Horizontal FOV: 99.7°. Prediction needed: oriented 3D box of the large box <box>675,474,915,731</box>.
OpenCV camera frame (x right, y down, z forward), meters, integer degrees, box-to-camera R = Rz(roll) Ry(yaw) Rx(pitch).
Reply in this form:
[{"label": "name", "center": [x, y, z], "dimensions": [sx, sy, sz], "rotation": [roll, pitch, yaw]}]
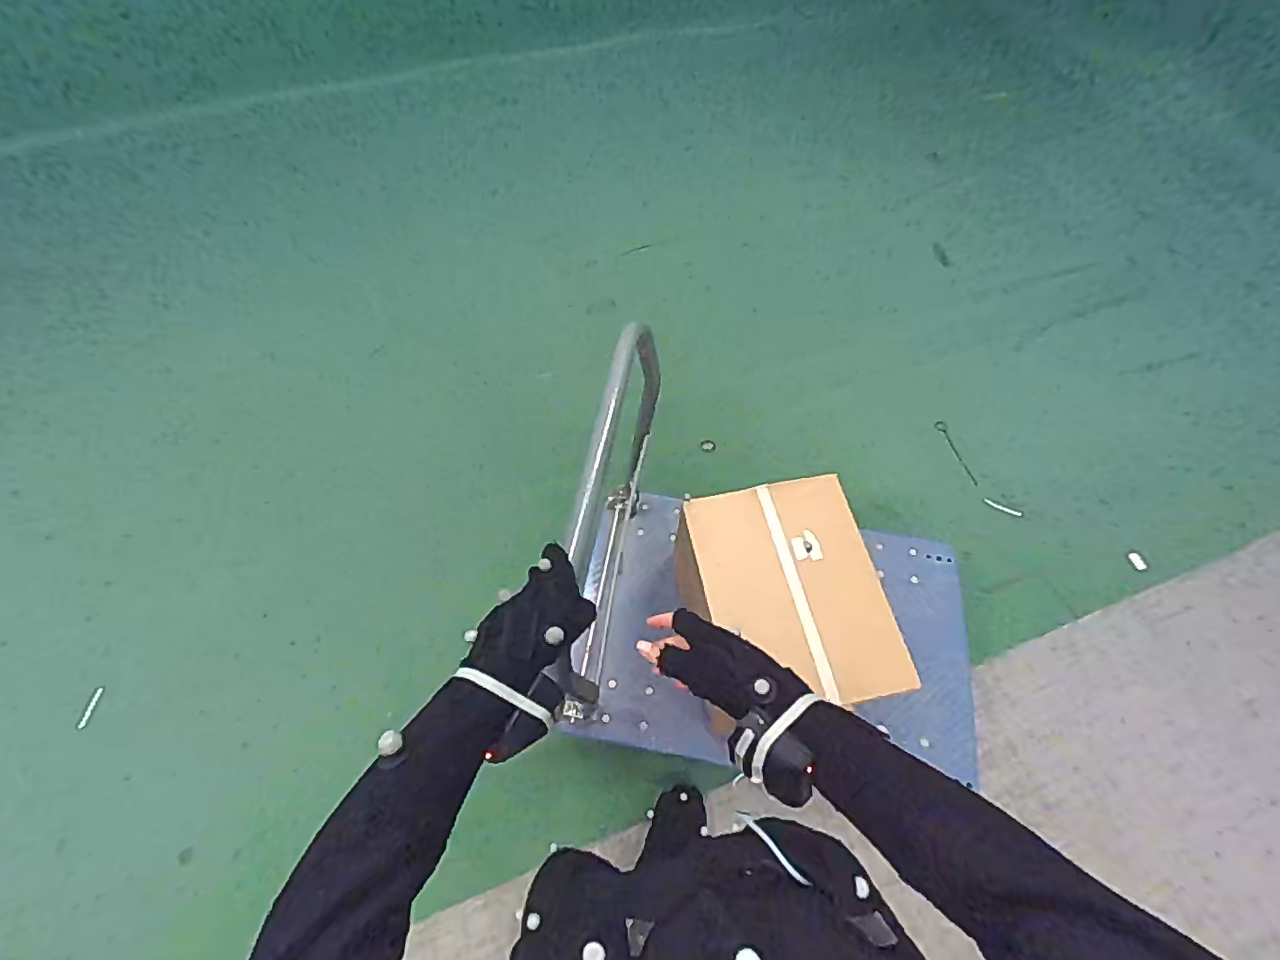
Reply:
[{"label": "large box", "center": [0.269, 0.255, 1.099], "dimensions": [0.320, 0.320, 0.408], "rotation": [-10, 63, -6]}]
